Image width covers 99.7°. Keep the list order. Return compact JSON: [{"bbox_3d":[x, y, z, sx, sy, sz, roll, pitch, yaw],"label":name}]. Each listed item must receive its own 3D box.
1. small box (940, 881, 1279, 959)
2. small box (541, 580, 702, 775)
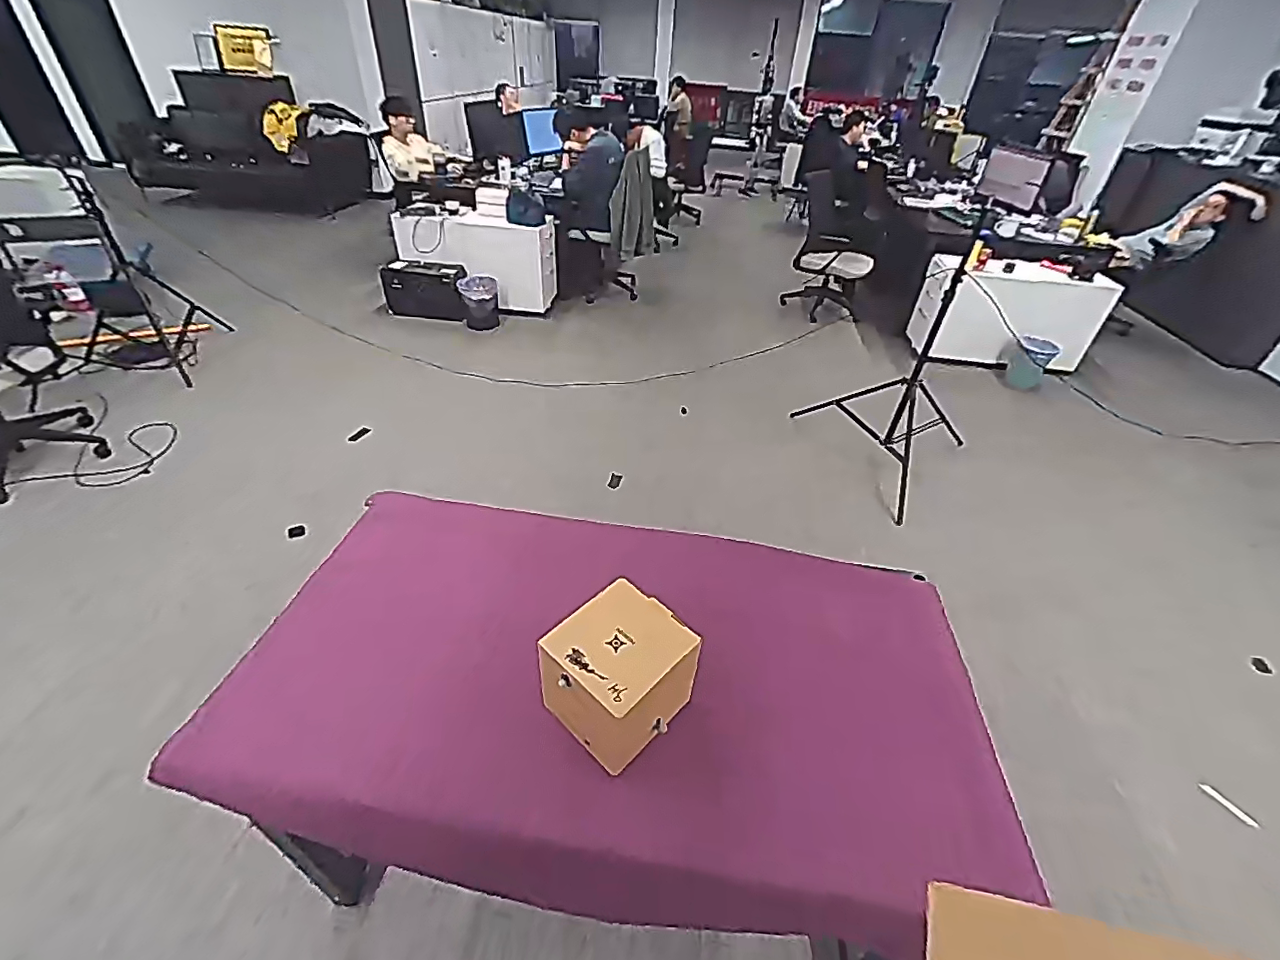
[{"bbox_3d":[0.225,0.319,0.230,0.168,0.176,0.179,-3,-9,29],"label":"small box"},{"bbox_3d":[-0.032,0.293,0.815,0.168,0.176,0.179,32,45,31],"label":"small box"}]
